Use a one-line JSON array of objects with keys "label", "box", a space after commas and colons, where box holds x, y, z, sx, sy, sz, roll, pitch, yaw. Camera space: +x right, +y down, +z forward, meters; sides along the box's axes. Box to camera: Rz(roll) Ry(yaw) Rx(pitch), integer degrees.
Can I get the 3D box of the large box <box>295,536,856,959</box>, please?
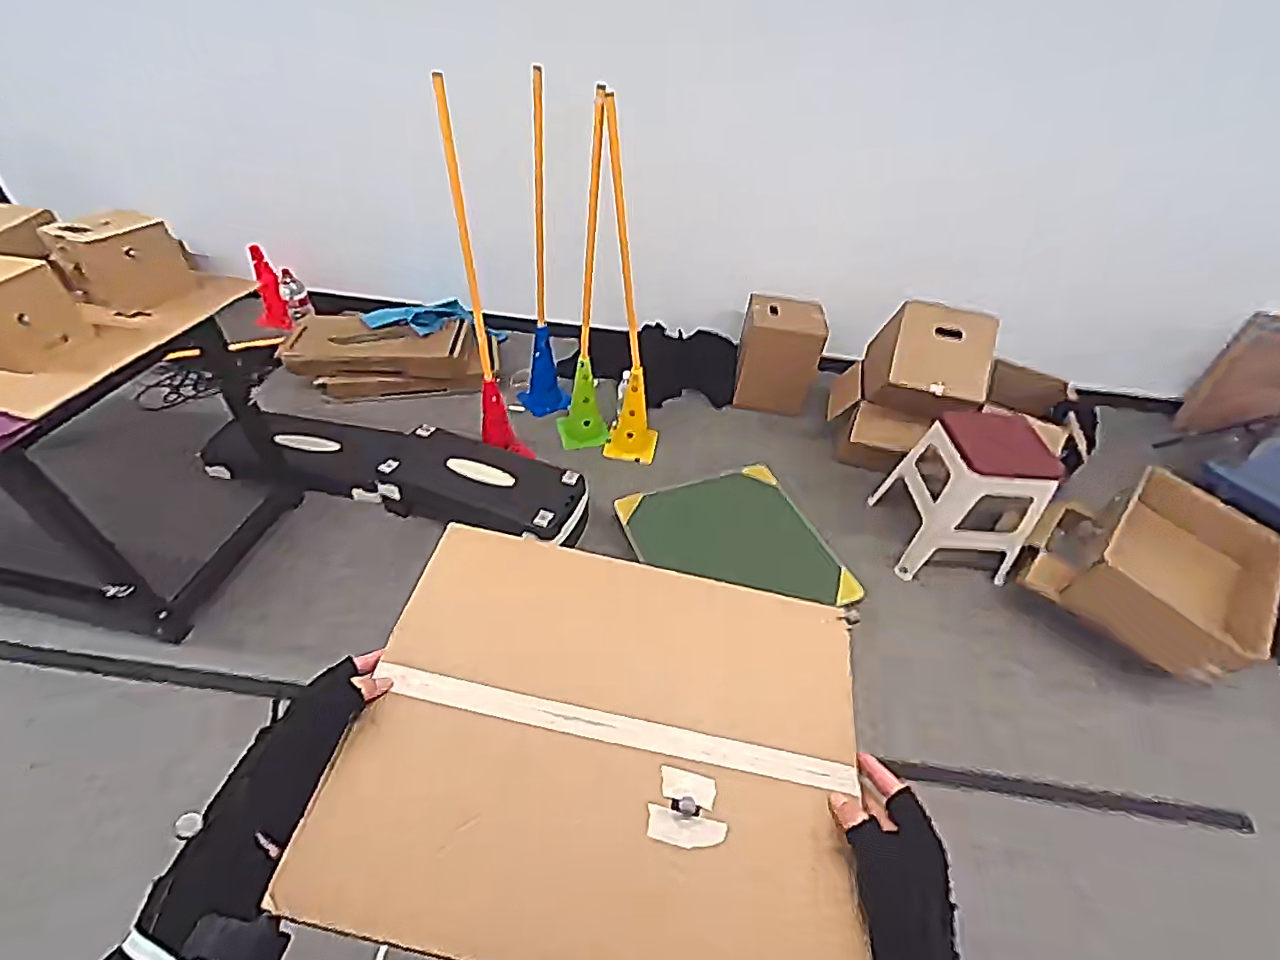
[{"label": "large box", "box": [-0.042, 0.303, 0.577, 0.408, 0.320, 0.320, 12, 51, 1]}]
